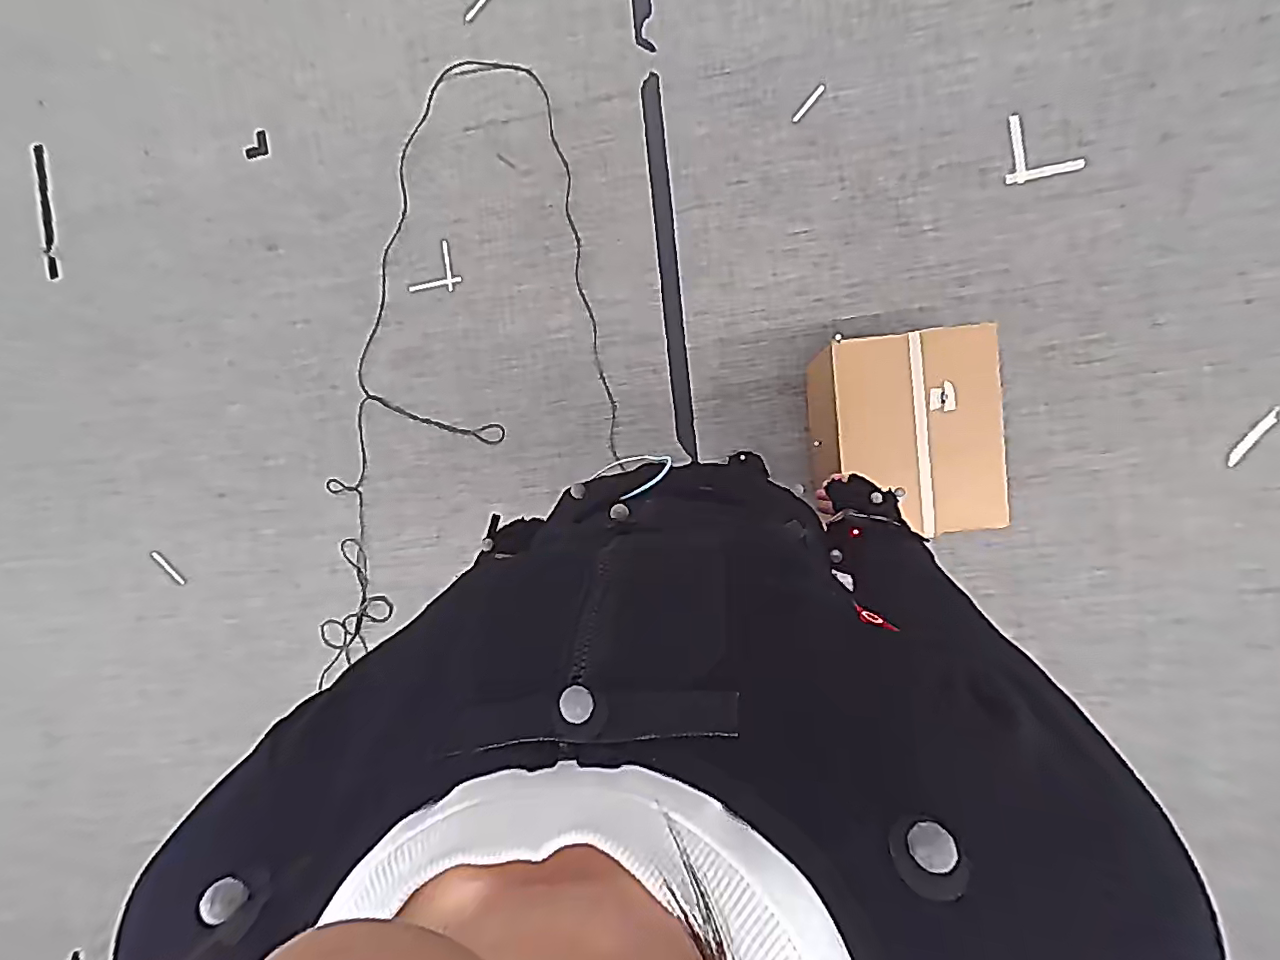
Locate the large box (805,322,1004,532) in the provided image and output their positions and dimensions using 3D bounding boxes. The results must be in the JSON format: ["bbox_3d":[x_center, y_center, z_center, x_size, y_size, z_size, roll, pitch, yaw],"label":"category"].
[{"bbox_3d":[0.576,-0.107,1.243,0.320,0.320,0.408,-5,91,6],"label":"large box"}]
